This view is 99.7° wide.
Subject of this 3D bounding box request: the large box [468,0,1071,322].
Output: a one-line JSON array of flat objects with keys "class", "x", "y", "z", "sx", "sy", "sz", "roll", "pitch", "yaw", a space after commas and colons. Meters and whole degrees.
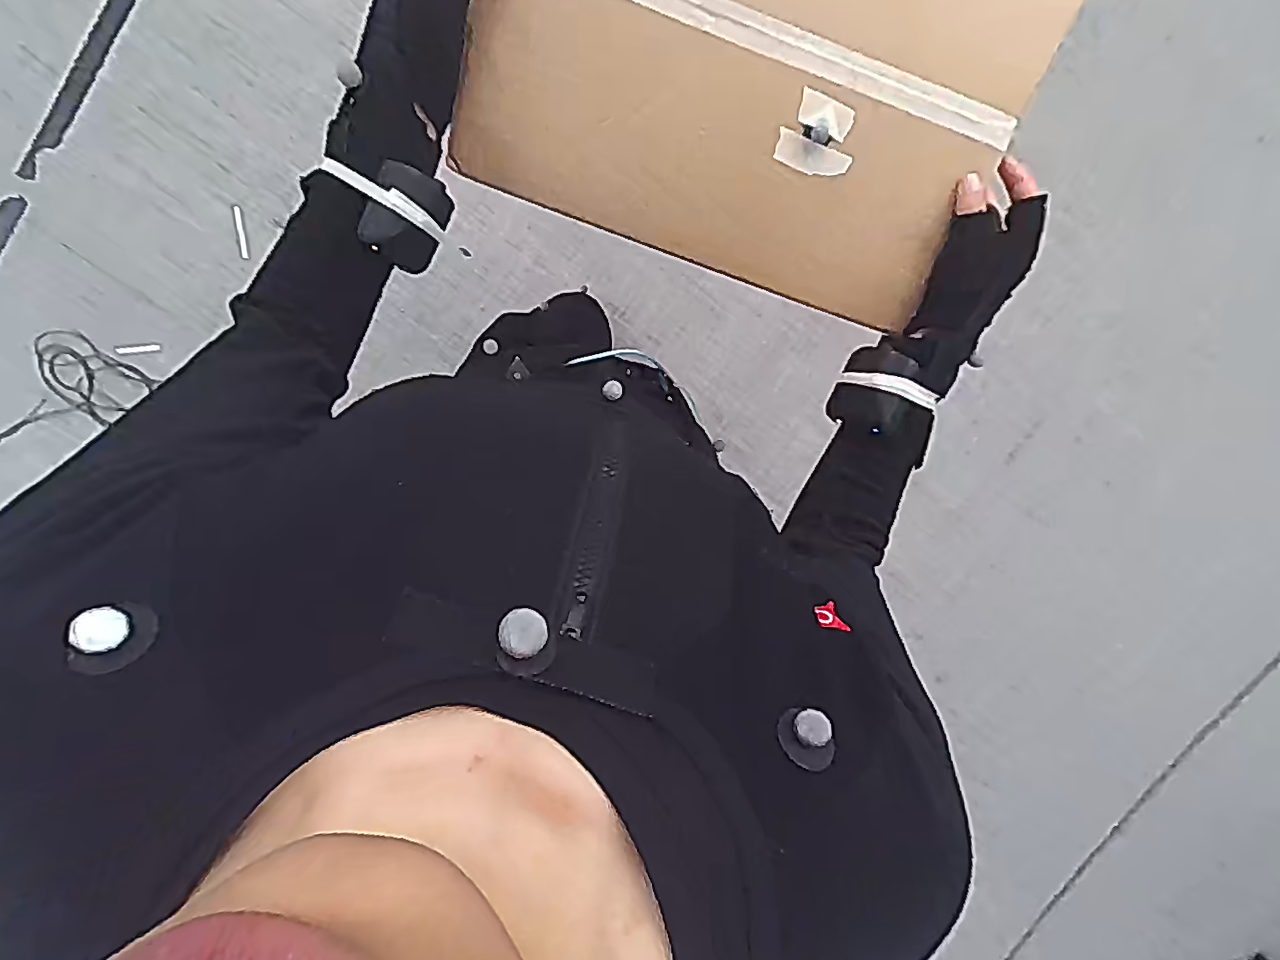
[{"class": "large box", "x": 0.095, "y": -0.389, "z": 0.535, "sx": 0.408, "sy": 0.320, "sz": 0.320, "roll": 18, "pitch": 115, "yaw": -6}]
